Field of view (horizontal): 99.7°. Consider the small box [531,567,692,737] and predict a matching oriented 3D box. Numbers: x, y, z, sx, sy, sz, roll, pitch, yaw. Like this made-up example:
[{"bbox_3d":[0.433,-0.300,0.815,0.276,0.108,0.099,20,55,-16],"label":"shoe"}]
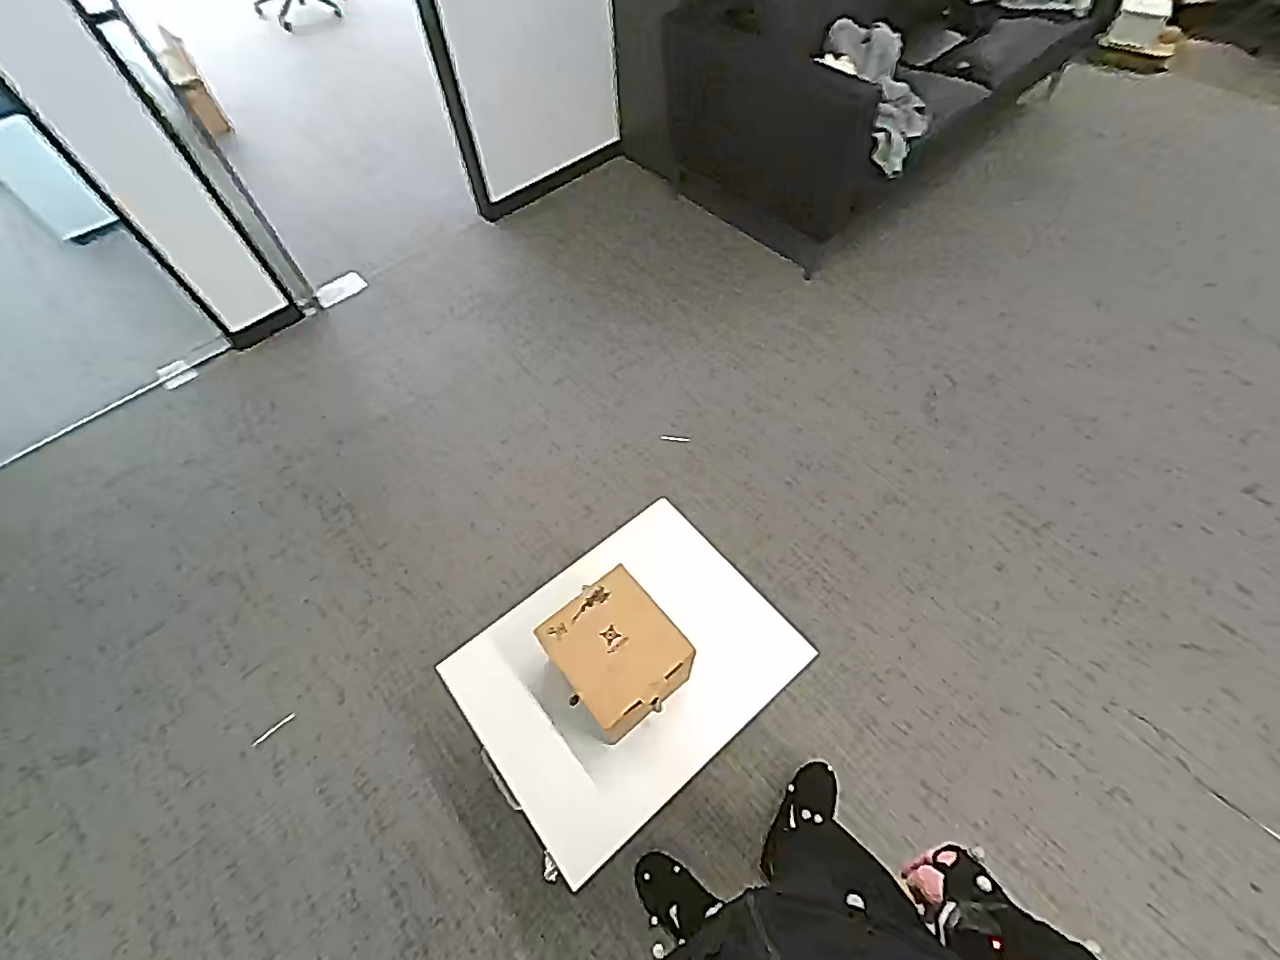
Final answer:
[{"bbox_3d":[-0.039,0.272,0.836,0.168,0.176,0.179,-38,64,-19],"label":"small box"}]
